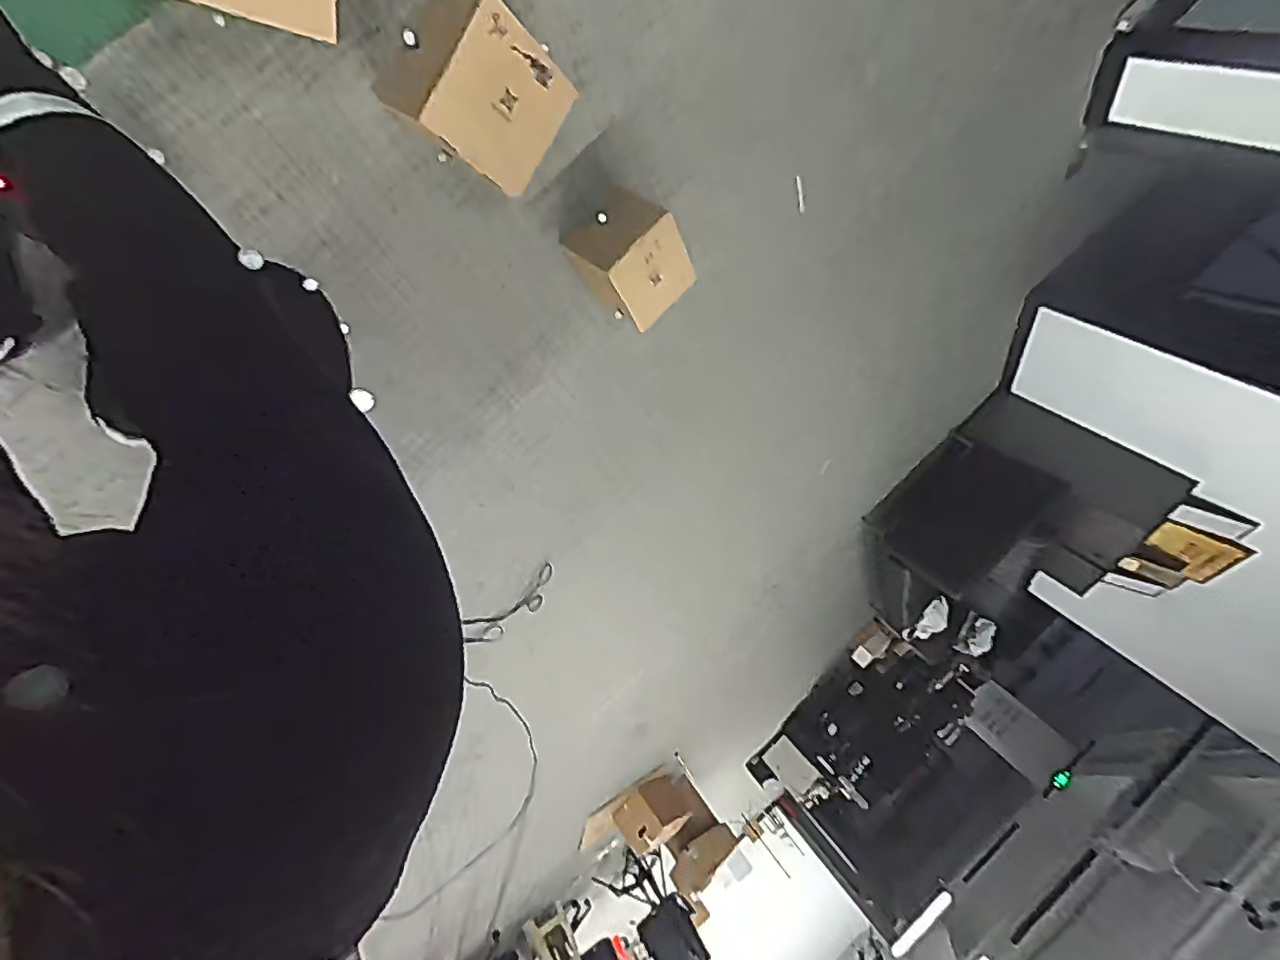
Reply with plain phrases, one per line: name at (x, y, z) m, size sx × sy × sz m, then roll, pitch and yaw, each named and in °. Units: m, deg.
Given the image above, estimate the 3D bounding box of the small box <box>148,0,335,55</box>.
small box at (-0.427, -0.560, 0.543) m, size 0.179 × 0.176 × 0.168 m, roll -13°, pitch 133°, yaw -40°

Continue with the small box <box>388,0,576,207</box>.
small box at (-0.231, -0.536, 0.769) m, size 0.179 × 0.176 × 0.168 m, roll -54°, pitch 144°, yaw 11°

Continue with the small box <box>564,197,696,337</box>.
small box at (-0.019, -0.430, 1.090) m, size 0.168 × 0.176 × 0.179 m, roll -46°, pitch 146°, yaw -3°
